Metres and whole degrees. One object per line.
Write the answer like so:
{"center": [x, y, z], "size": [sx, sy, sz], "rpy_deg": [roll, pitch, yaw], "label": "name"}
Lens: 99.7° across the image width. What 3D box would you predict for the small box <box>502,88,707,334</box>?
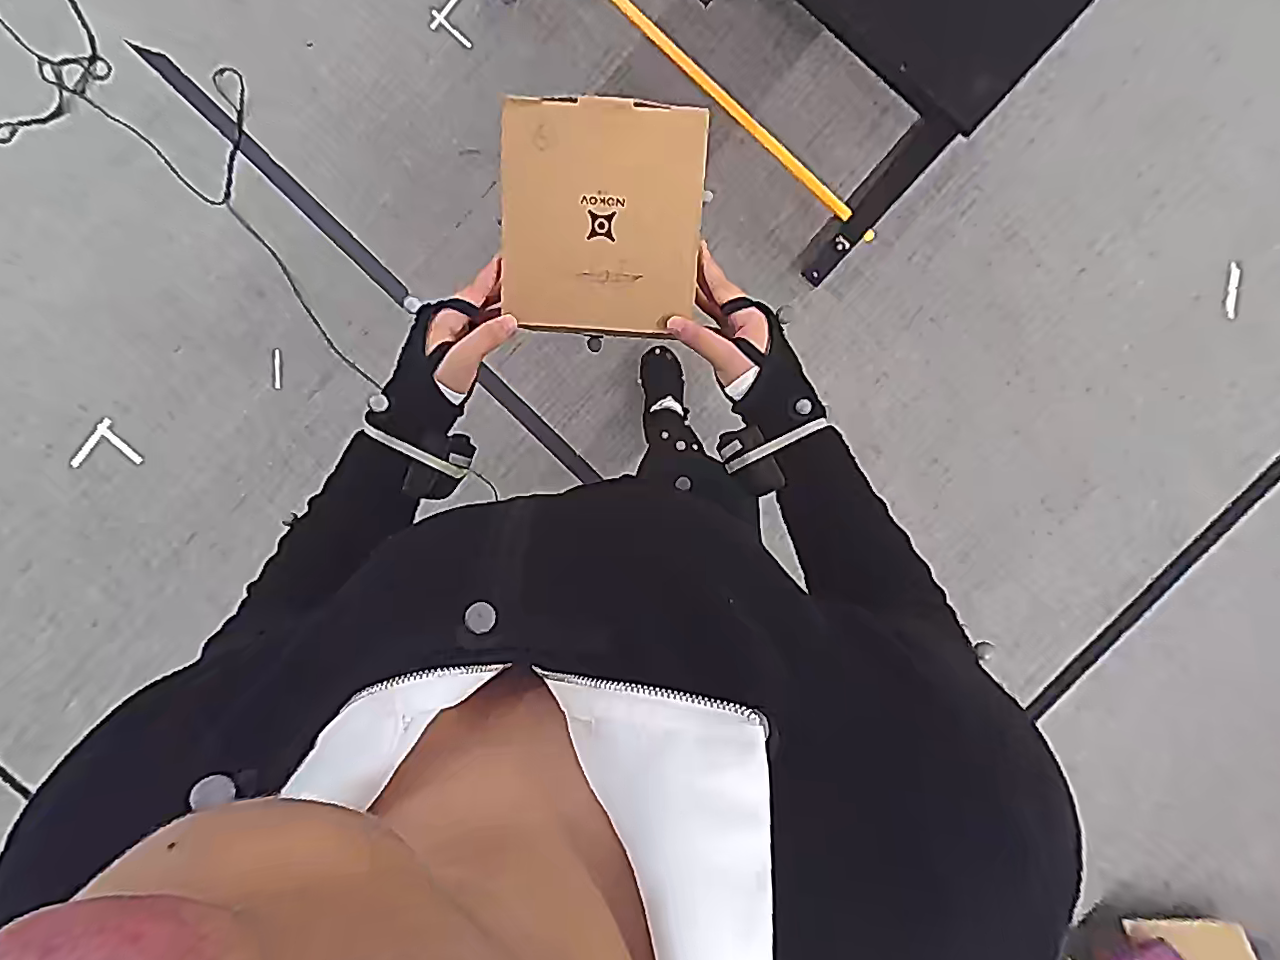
{"center": [-0.033, -0.241, 0.529], "size": [0.168, 0.176, 0.179], "rpy_deg": [3, 103, -1], "label": "small box"}
